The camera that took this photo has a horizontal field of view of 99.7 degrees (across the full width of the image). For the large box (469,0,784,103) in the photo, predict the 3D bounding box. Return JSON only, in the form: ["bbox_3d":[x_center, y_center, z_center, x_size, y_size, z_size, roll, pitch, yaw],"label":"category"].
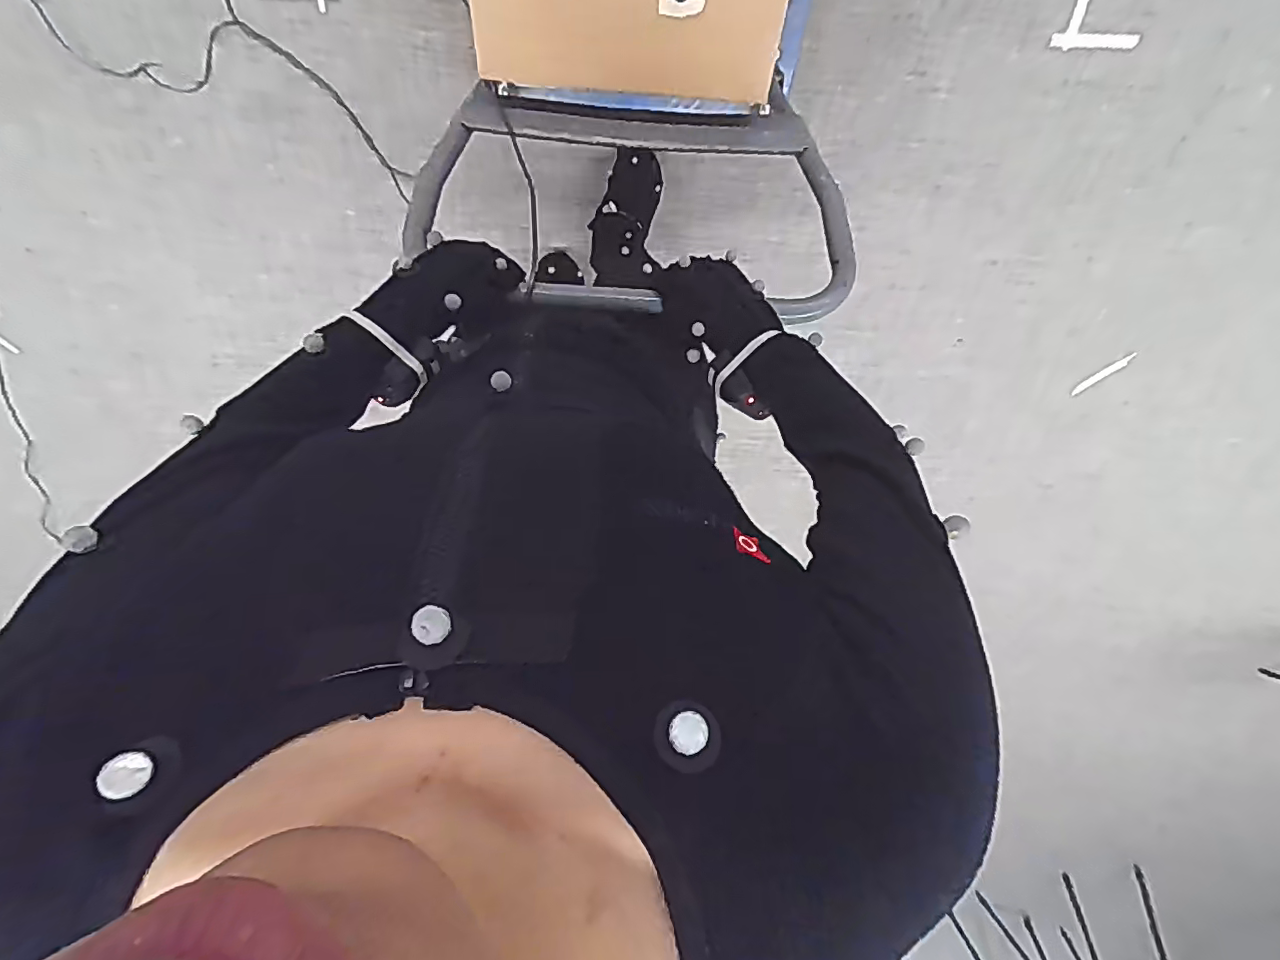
[{"bbox_3d":[-0.017,-0.748,0.742,0.408,0.320,0.320,2,138,-4],"label":"large box"}]
